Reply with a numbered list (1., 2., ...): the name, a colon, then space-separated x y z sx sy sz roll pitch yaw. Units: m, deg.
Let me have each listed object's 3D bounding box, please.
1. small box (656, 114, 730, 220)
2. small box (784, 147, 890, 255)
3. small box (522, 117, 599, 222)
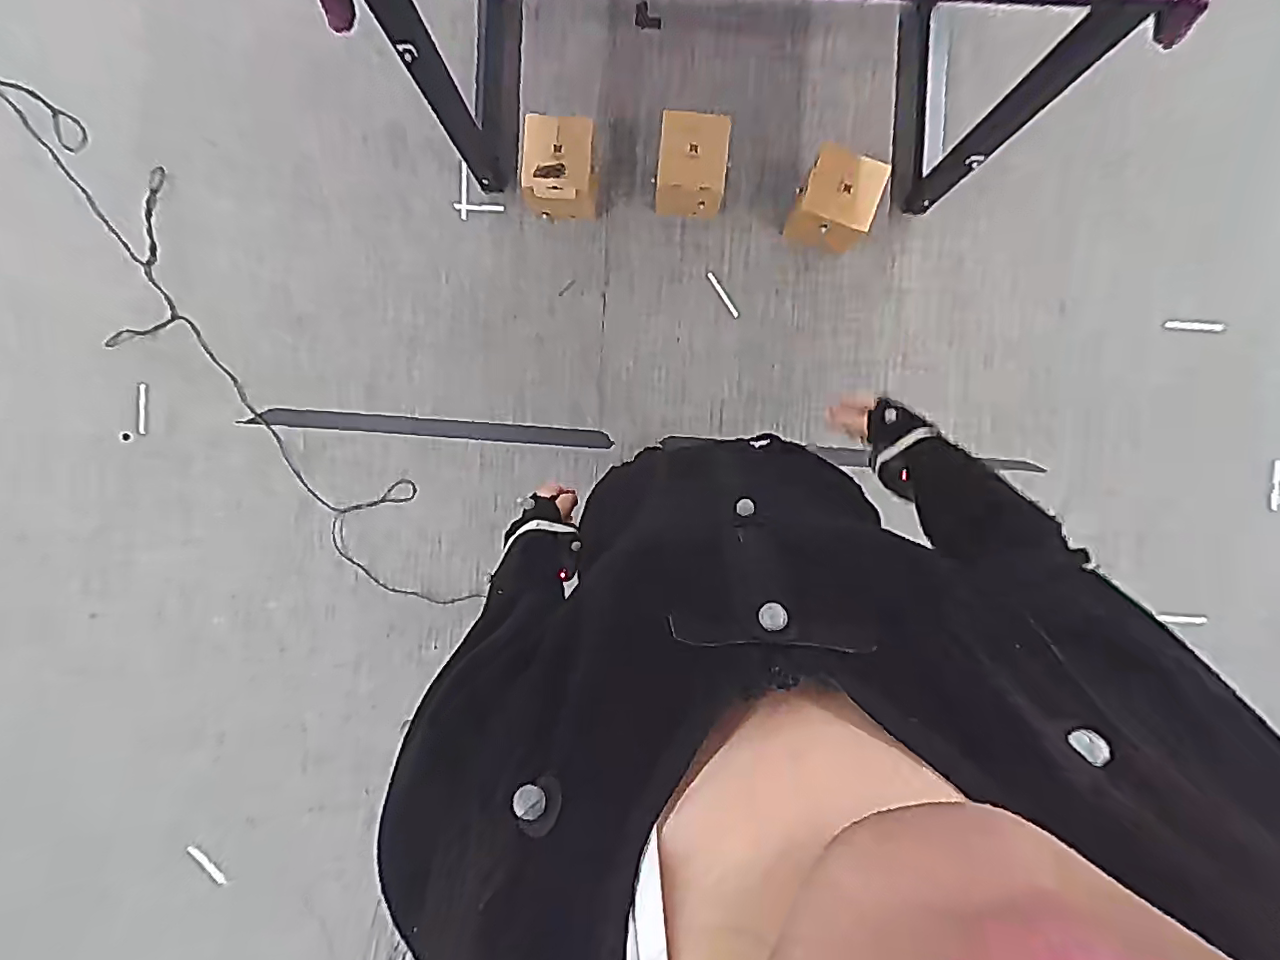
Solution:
1. small box: 0.128 -0.785 1.373 0.168 0.176 0.179 5 92 -1
2. small box: 0.491 -0.697 1.374 0.179 0.176 0.168 20 94 1
3. small box: -0.196 -0.780 1.374 0.168 0.176 0.179 4 92 0
